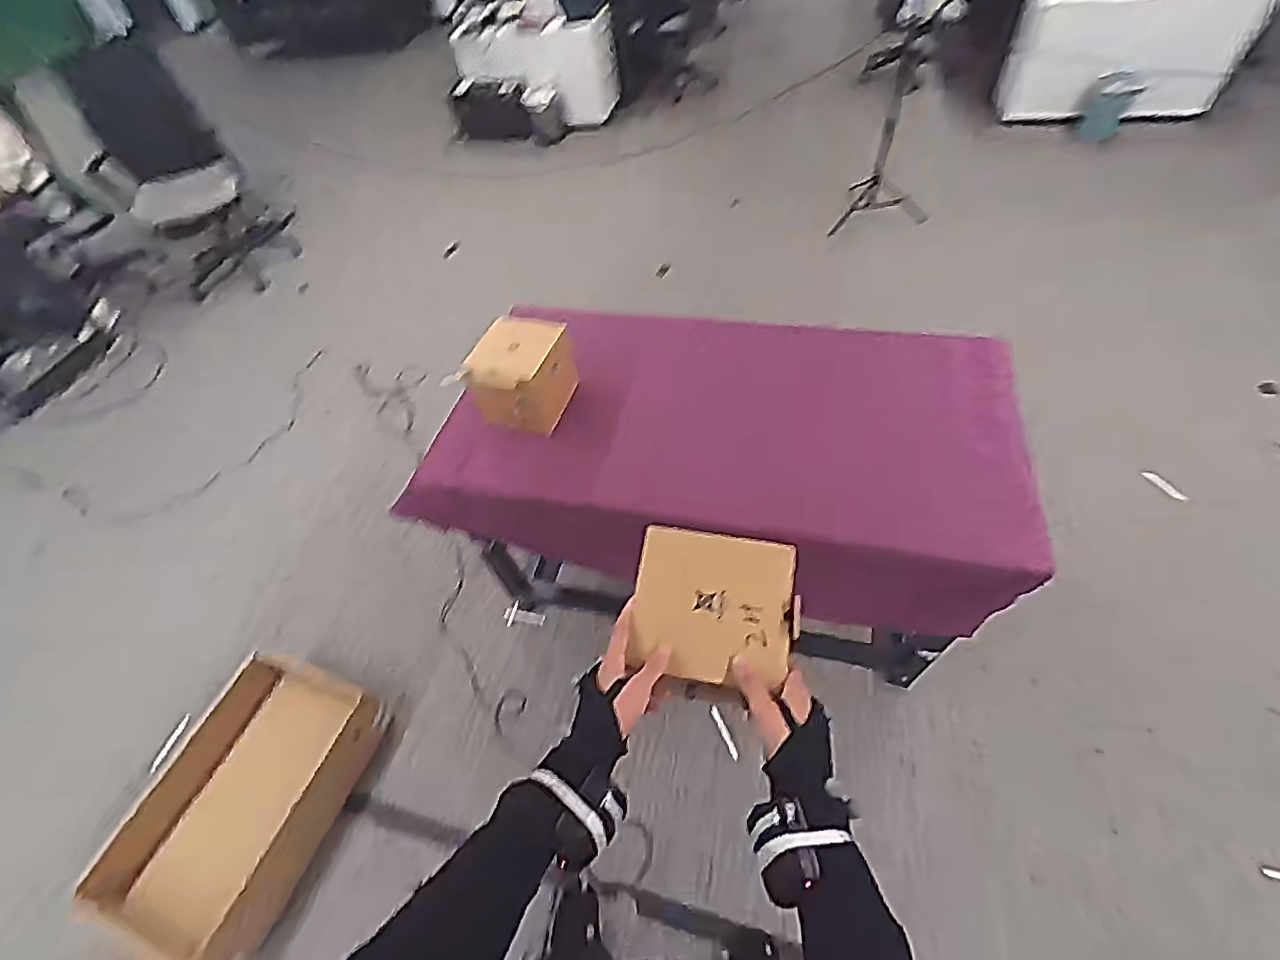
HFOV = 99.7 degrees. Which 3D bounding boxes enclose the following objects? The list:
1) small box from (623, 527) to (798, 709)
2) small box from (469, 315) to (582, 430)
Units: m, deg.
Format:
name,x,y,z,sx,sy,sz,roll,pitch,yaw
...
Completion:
name,x,y,z,sx,sy,sz,roll,pitch,yaw
small box,0.085,0.176,0.667,0.179,0.176,0.168,9,63,7
small box,-0.241,-0.234,1.196,0.168,0.176,0.179,13,56,15
